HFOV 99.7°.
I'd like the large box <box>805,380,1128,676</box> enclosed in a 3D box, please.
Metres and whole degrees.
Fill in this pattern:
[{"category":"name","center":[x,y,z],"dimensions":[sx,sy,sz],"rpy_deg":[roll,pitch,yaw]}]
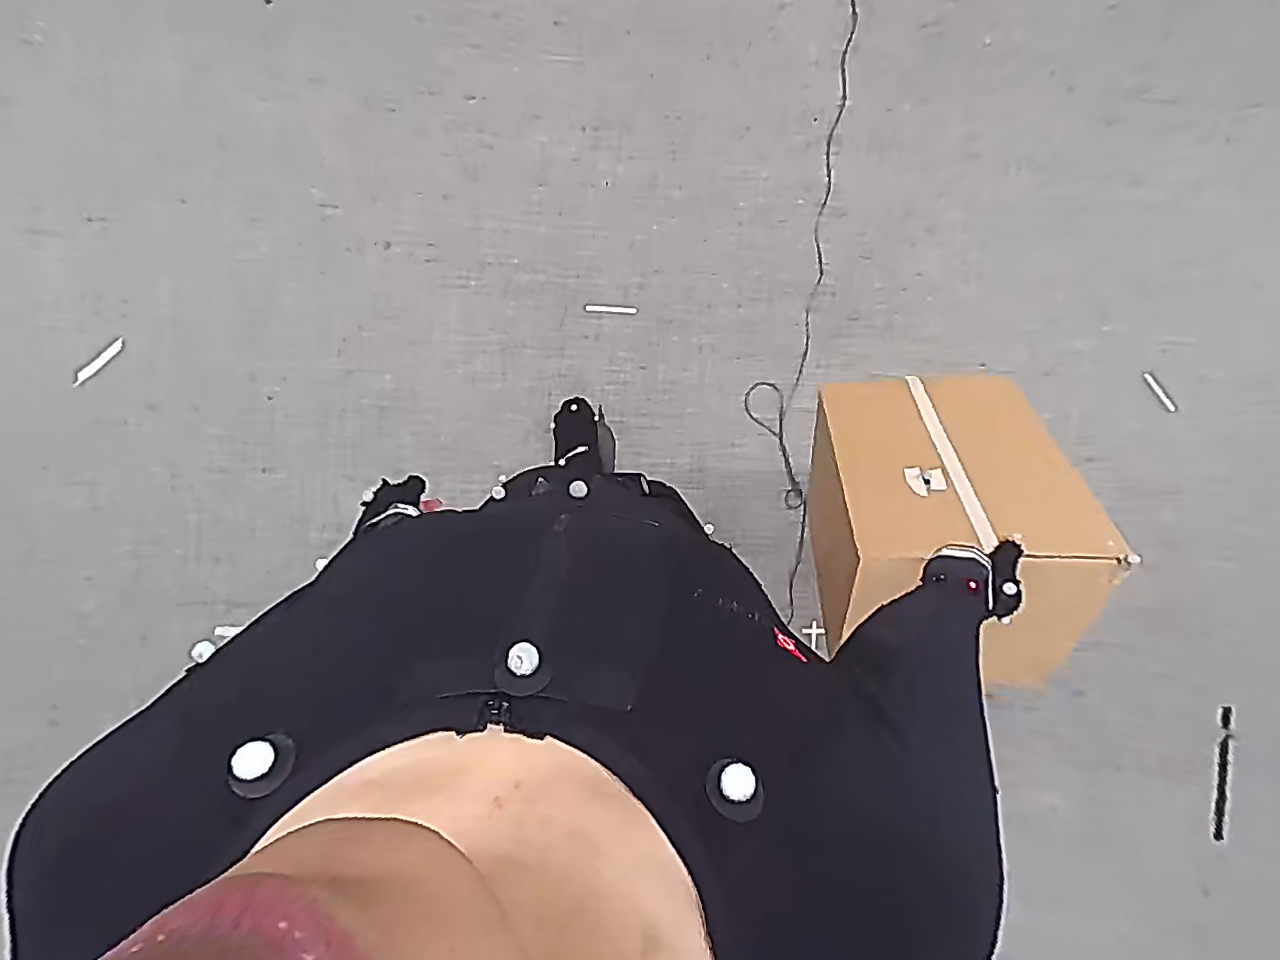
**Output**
[{"category":"large box","center":[0.477,0.070,0.921],"dimensions":[0.320,0.408,0.320],"rpy_deg":[-1,134,9]}]
